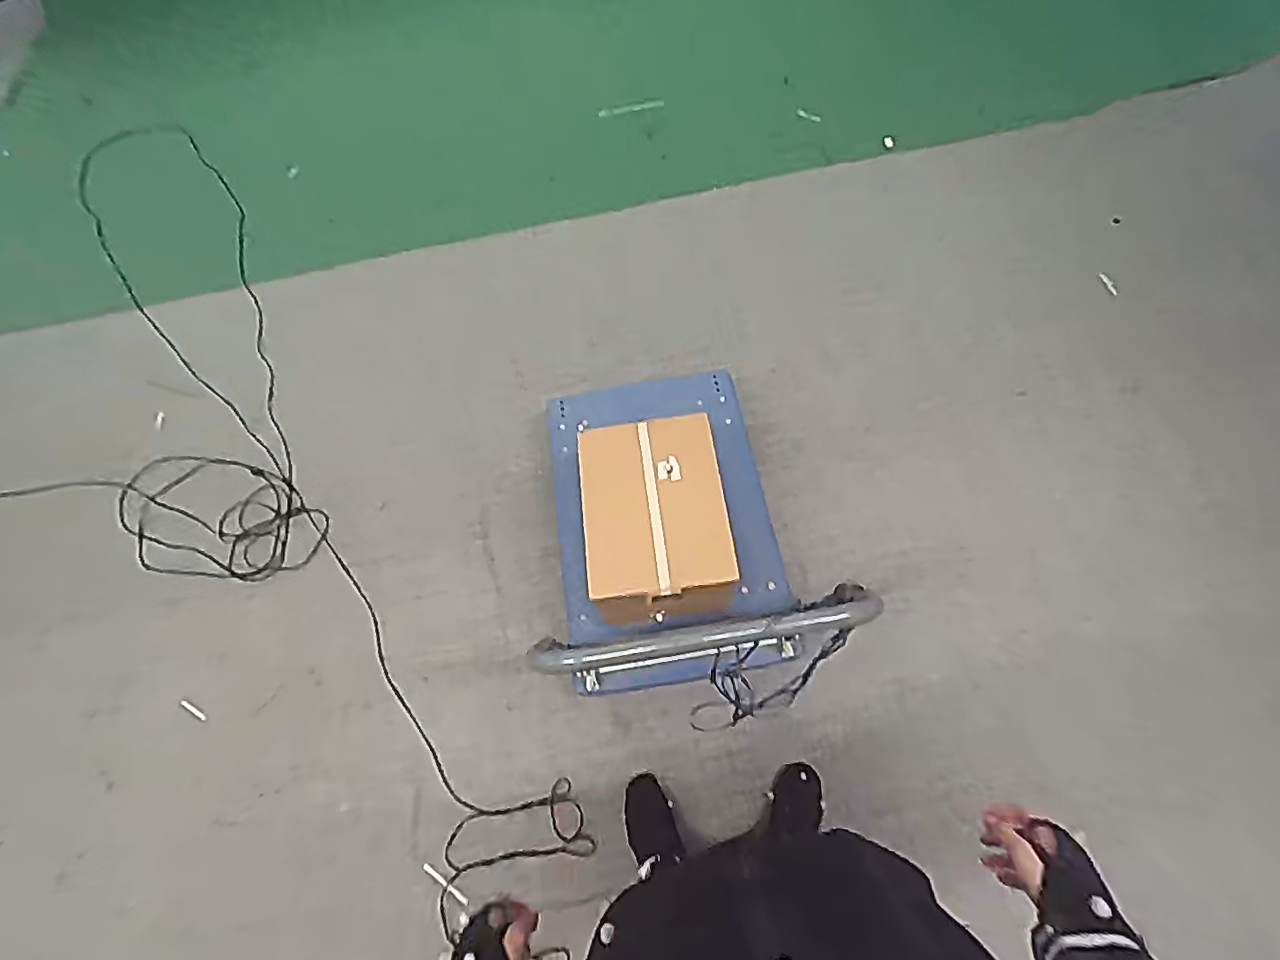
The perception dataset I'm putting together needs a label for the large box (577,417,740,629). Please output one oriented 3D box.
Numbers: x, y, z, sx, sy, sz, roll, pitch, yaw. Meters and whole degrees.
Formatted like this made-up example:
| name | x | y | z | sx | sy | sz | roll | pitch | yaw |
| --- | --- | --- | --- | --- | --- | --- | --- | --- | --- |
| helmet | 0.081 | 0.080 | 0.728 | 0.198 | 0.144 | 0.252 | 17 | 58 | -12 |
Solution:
| name | x | y | z | sx | sy | sz | roll | pitch | yaw |
| --- | --- | --- | --- | --- | --- | --- | --- | --- | --- |
| large box | 0.040 | 0.114 | 1.309 | 0.320 | 0.320 | 0.408 | -7 | 64 | 1 |
